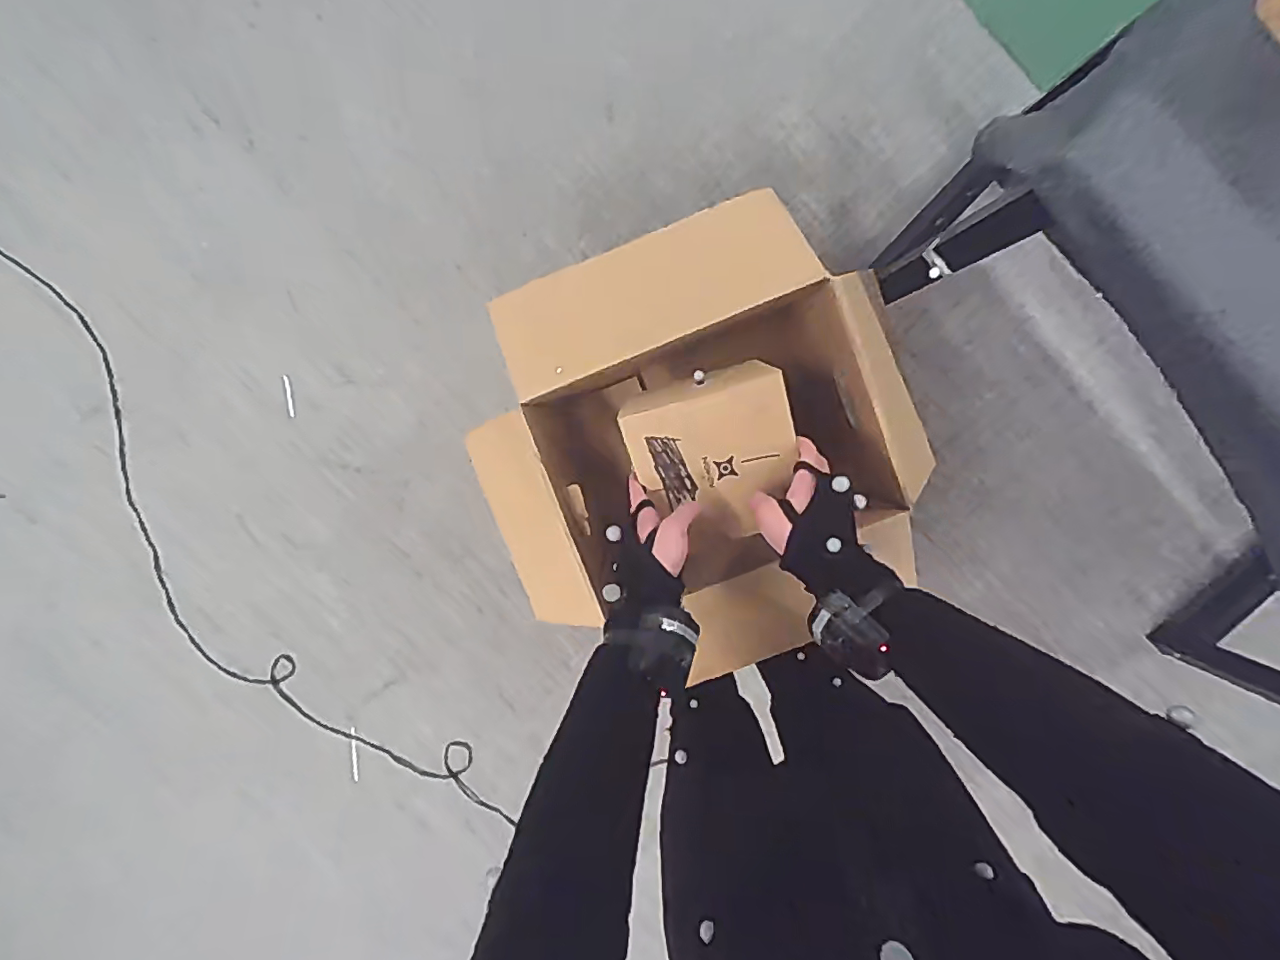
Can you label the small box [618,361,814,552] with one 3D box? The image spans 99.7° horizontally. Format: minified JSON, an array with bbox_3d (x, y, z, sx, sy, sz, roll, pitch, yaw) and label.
[{"bbox_3d":[0.086,-0.037,0.642,0.179,0.176,0.168,-15,105,7],"label":"small box"}]
